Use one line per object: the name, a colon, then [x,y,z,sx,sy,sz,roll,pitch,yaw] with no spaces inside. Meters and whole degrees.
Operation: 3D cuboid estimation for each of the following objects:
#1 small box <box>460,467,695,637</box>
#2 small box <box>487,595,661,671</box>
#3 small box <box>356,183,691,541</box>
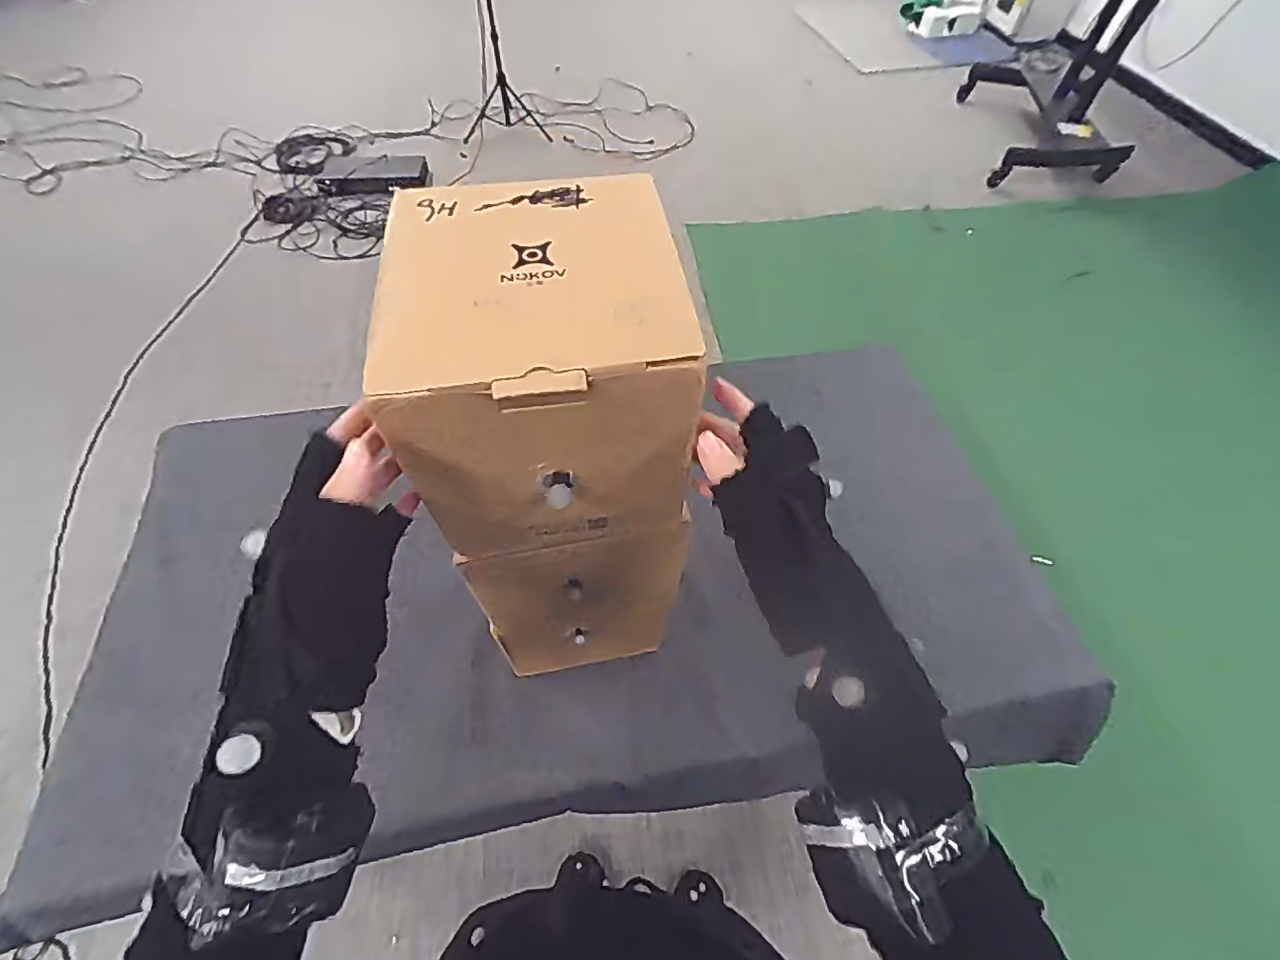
small box: [-0.065,0.028,0.502,0.179,0.176,0.168,-11,58,-10]
small box: [-0.079,0.114,0.641,0.179,0.176,0.168,-8,58,-8]
small box: [-0.066,-0.069,0.369,0.168,0.176,0.179,-6,58,-6]
